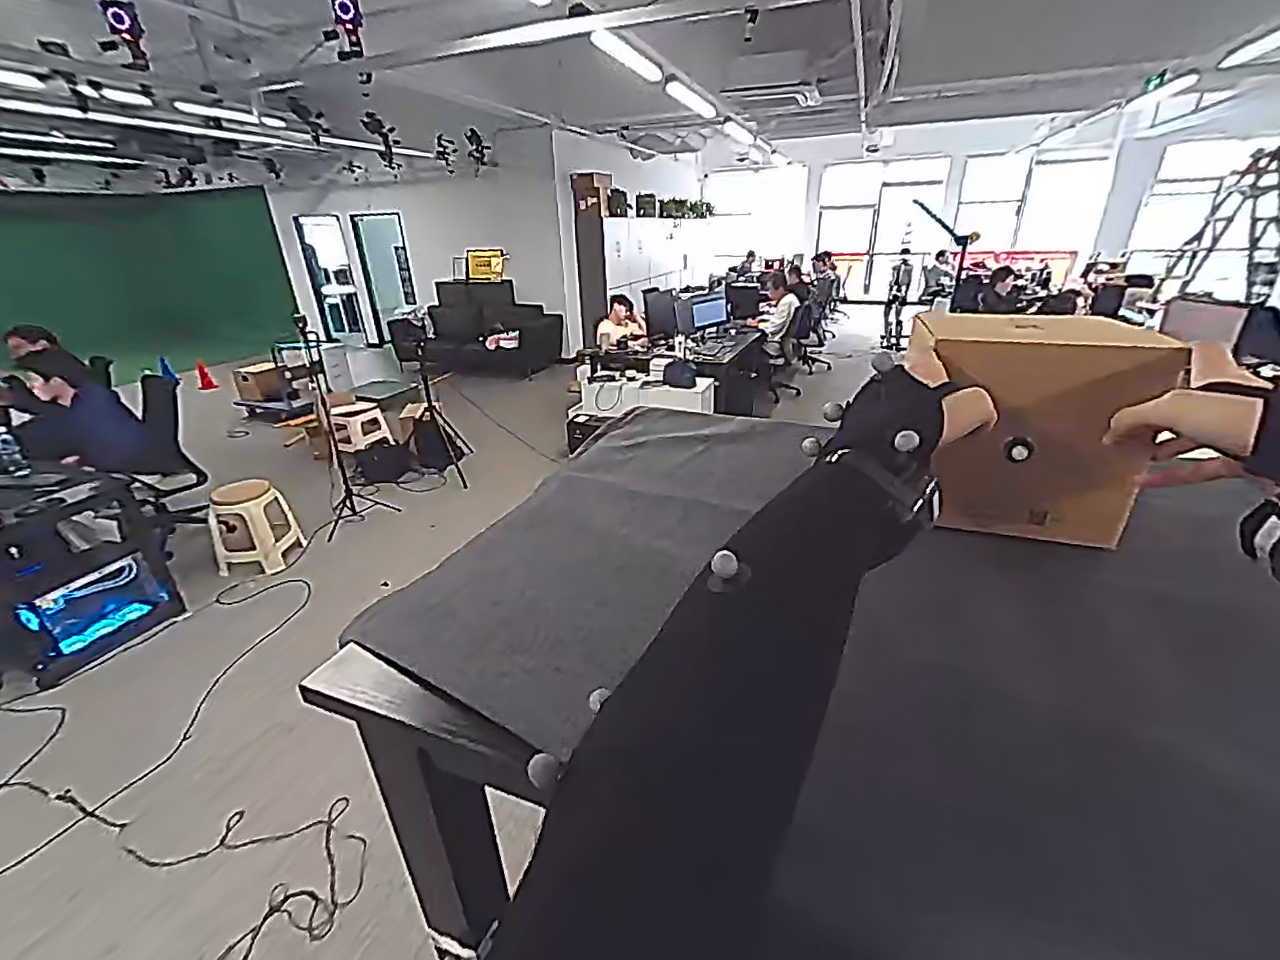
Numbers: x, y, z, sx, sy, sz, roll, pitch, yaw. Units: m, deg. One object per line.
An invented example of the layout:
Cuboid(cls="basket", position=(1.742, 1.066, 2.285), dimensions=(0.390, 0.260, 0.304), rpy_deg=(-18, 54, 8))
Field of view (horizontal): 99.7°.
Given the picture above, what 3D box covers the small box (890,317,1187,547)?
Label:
Cuboid(cls="small box", position=(0.339, -0.055, 0.506), dimensions=(0.168, 0.176, 0.179), rpy_deg=(8, 25, 18))
